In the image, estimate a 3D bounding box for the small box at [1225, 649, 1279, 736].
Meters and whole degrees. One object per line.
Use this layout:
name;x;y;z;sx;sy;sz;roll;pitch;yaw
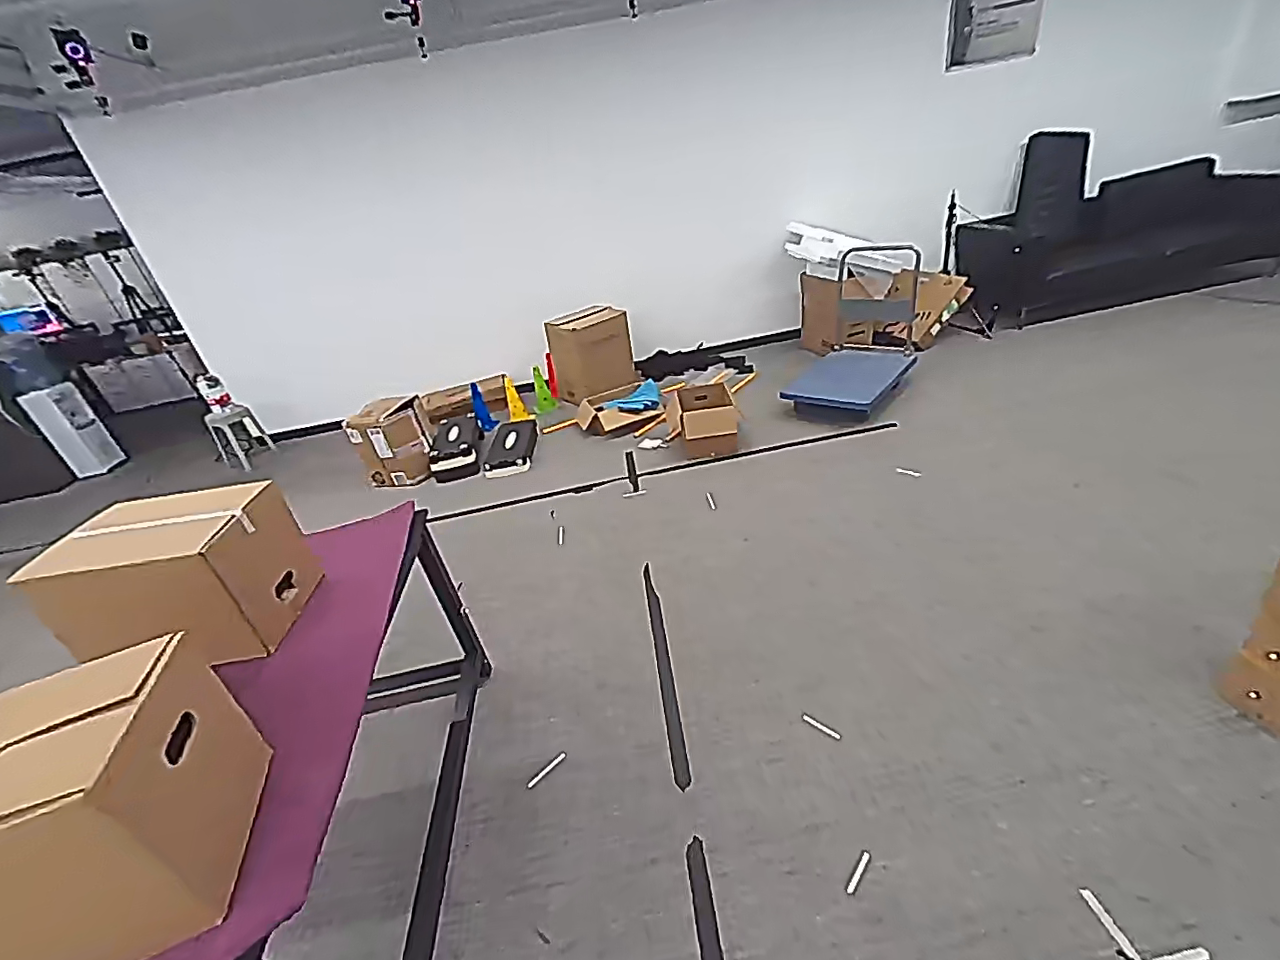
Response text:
small box;1.734;0.556;1.440;0.179;0.176;0.168;-12;30;-3

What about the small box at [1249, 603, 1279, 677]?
small box;1.715;0.417;1.357;0.179;0.176;0.168;-12;29;0
